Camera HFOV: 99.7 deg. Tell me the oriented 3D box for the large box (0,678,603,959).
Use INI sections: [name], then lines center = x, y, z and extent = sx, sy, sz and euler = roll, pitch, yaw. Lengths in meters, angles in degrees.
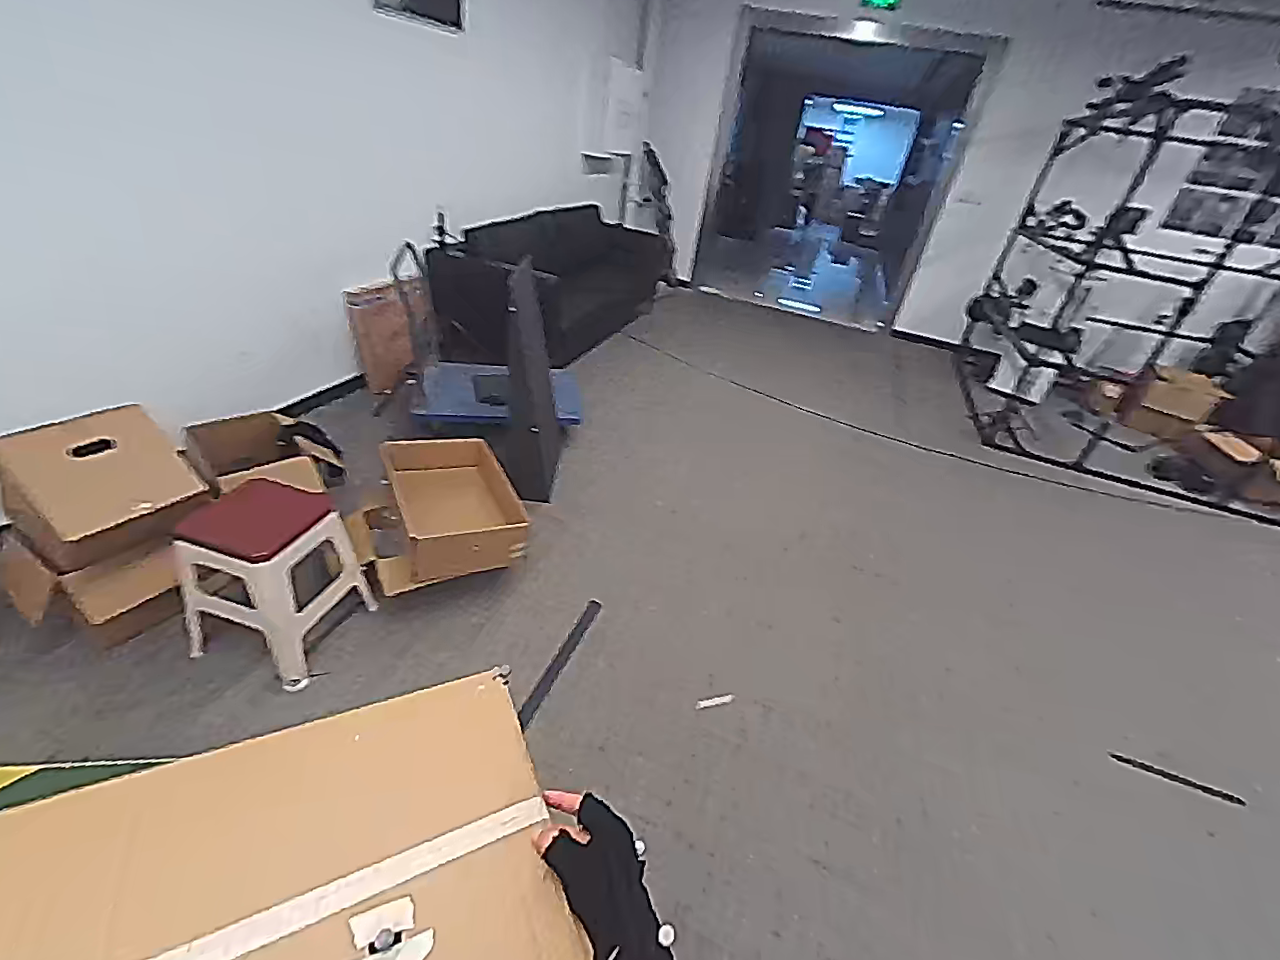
[large box]
center = -0.282, 0.451, 0.492
extent = 0.408, 0.320, 0.320
euler = -7, 40, -27
